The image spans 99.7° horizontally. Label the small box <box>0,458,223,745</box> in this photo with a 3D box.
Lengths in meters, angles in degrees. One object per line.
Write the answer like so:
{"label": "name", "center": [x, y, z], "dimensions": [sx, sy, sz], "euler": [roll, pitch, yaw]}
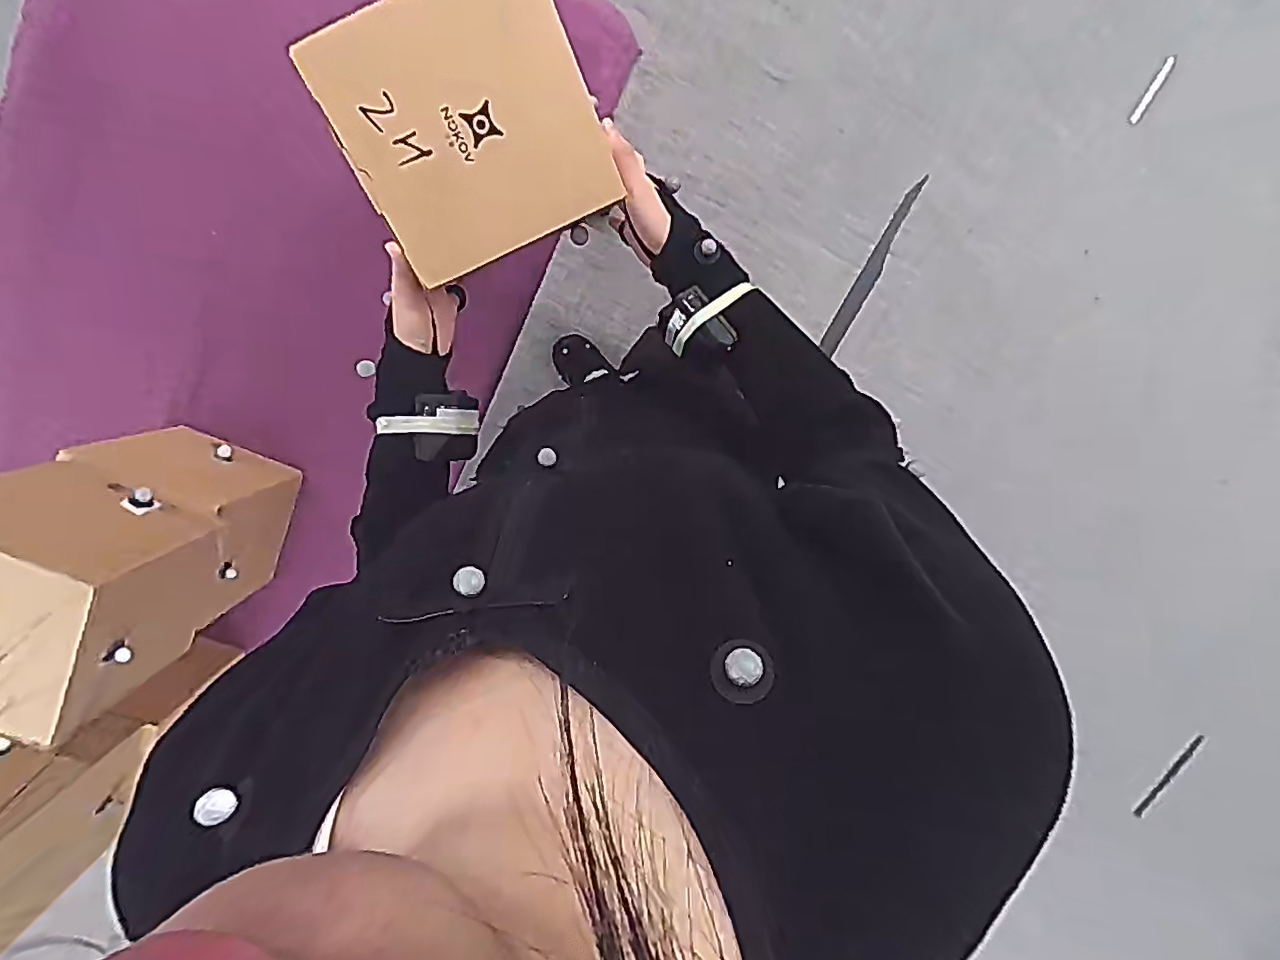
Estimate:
{"label": "small box", "center": [-0.549, 0.101, 0.514], "dimensions": [0.168, 0.176, 0.179], "euler": [25, 101, -10]}

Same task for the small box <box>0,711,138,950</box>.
{"label": "small box", "center": [-0.694, 0.356, 0.575], "dimensions": [0.168, 0.176, 0.179], "euler": [20, 103, -7]}

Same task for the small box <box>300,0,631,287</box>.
{"label": "small box", "center": [-0.125, -0.282, 0.452], "dimensions": [0.179, 0.176, 0.168], "euler": [-23, 115, 3]}

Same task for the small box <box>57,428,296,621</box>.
{"label": "small box", "center": [-0.567, 0.053, 0.668], "dimensions": [0.168, 0.176, 0.179], "euler": [23, 101, -8]}

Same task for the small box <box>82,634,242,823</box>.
{"label": "small box", "center": [-0.692, 0.312, 0.733], "dimensions": [0.179, 0.176, 0.168], "euler": [22, 103, -7]}
